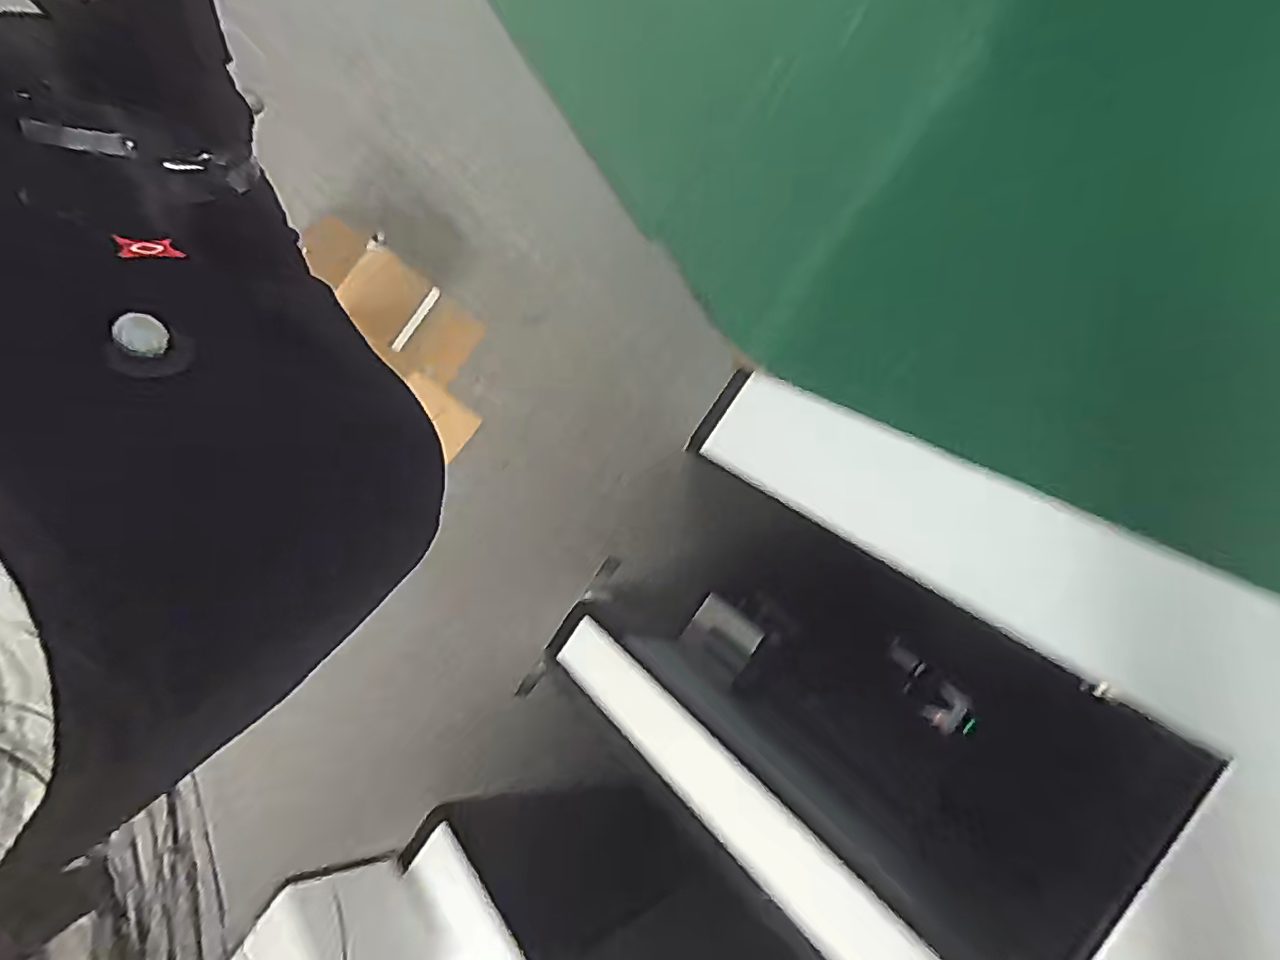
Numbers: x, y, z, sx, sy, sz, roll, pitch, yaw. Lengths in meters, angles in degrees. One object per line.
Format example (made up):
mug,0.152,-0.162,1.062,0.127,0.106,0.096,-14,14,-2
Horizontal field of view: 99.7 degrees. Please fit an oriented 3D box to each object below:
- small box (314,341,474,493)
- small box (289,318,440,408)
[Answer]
small box,-0.437,-0.112,0.953,0.179,0.176,0.168,-52,145,-6
small box,-0.539,-0.193,1.055,0.168,0.176,0.179,-53,145,-3
